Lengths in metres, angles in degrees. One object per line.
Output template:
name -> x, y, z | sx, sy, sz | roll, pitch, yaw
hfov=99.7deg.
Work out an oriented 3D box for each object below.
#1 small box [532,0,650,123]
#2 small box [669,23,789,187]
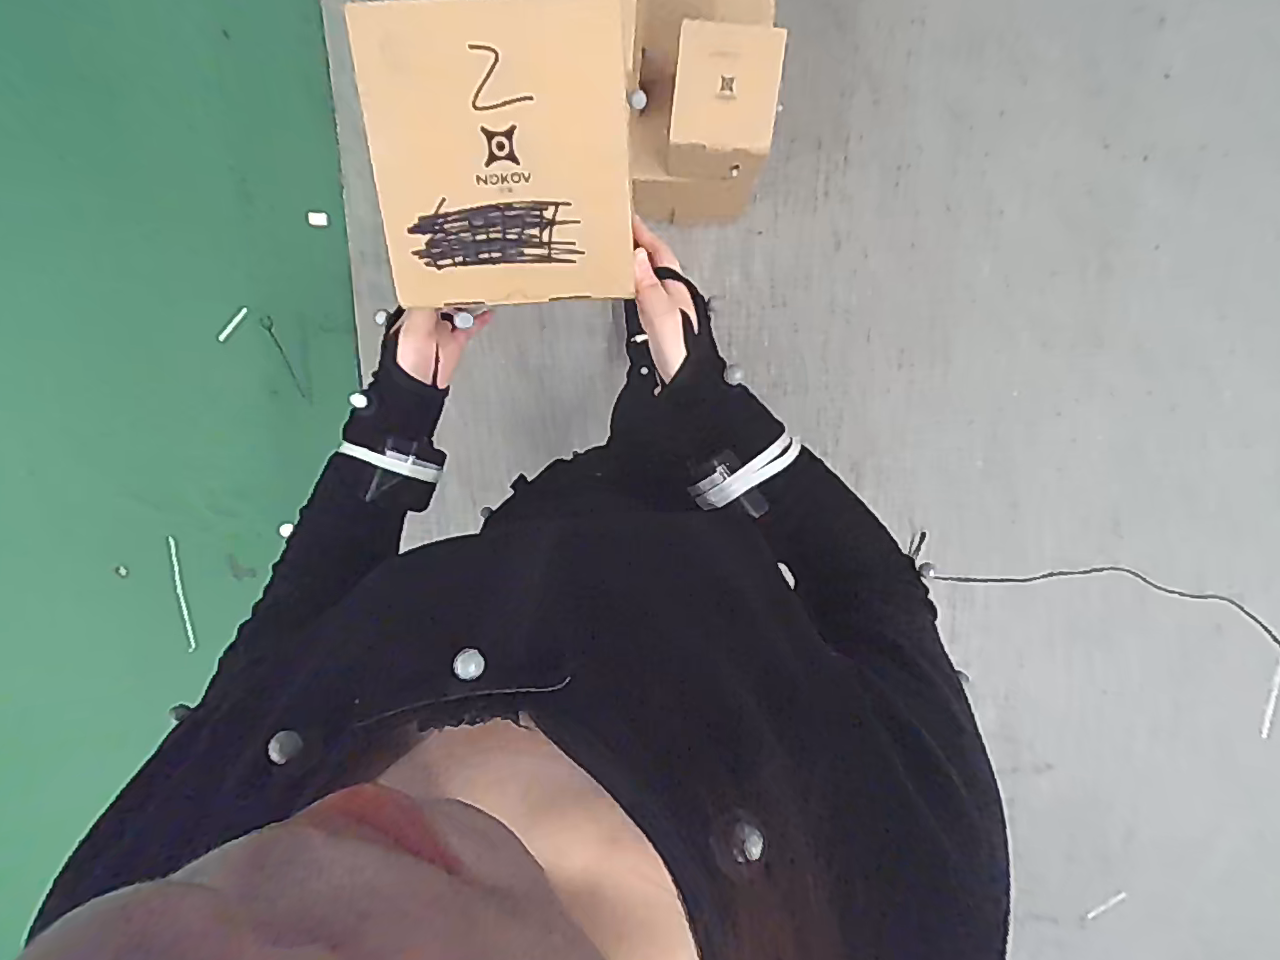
small box -> -0.075, -0.745, 0.914 | 0.168, 0.176, 0.179 | 7, 101, 3
small box -> 0.142, -0.625, 0.925 | 0.168, 0.176, 0.179 | 7, 102, 0
